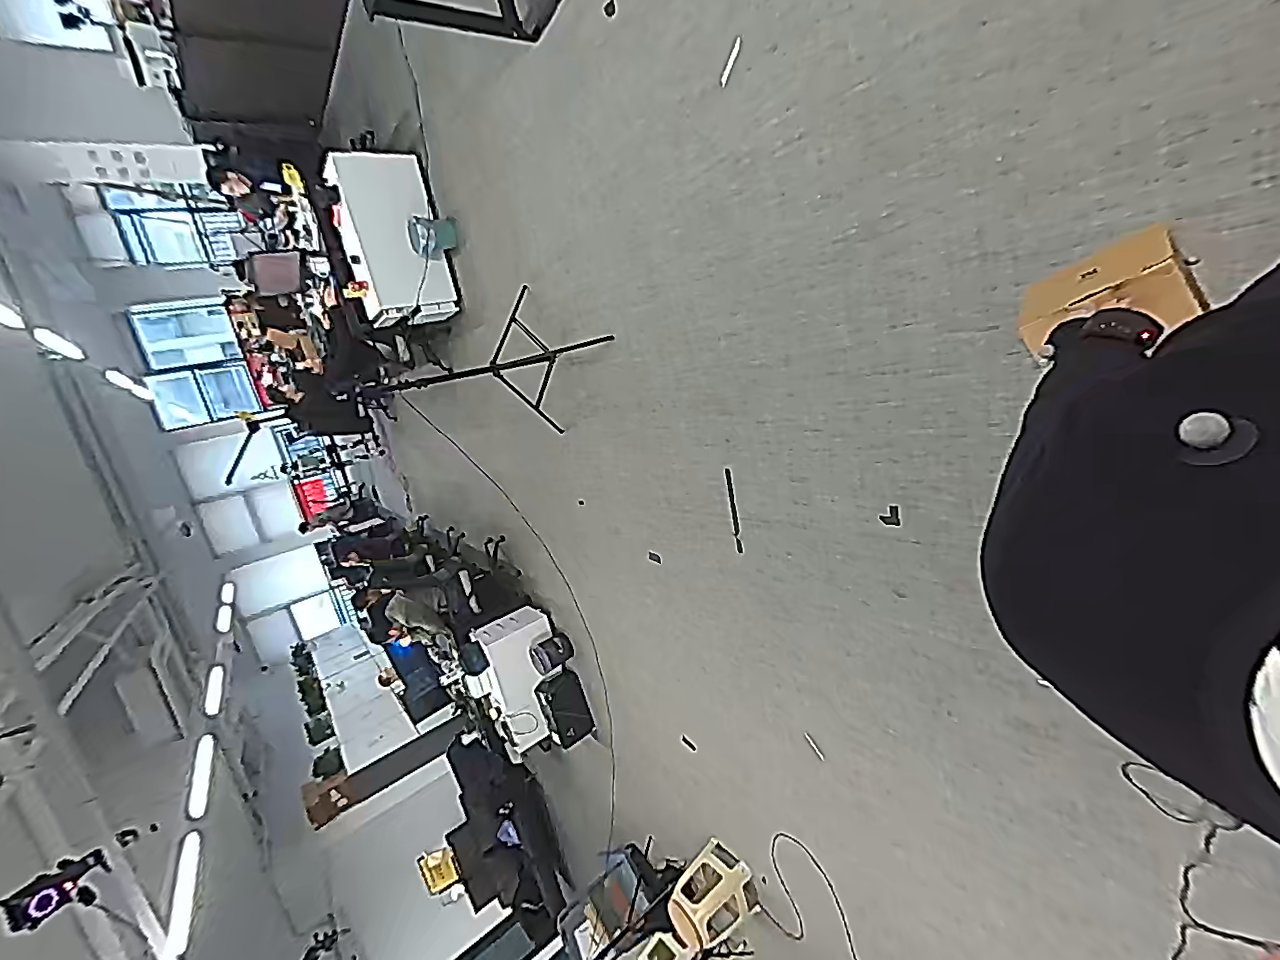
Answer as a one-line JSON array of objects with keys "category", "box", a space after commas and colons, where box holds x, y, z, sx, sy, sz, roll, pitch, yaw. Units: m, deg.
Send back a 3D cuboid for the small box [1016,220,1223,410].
[{"category": "small box", "box": [0.663, -0.219, 0.755, 0.176, 0.179, 0.168, 52, 141, -10]}]
